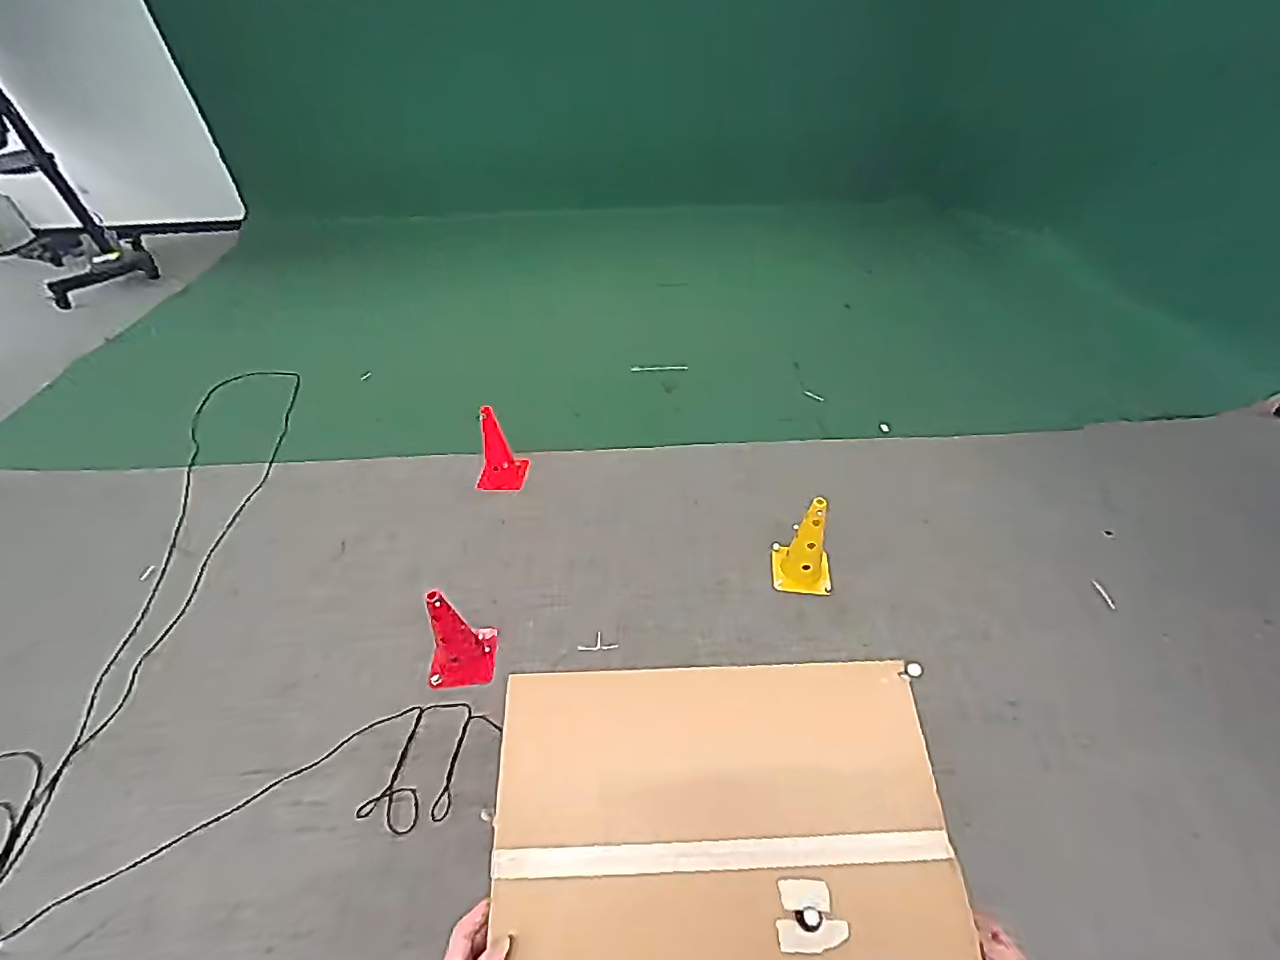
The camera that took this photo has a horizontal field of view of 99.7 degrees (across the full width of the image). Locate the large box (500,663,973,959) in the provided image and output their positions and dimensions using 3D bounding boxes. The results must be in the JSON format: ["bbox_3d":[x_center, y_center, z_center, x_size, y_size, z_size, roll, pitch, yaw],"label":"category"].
[{"bbox_3d":[0.075,0.407,0.616,0.408,0.320,0.320,-2,62,-1],"label":"large box"}]

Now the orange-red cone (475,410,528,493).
[{"bbox_3d":[-0.611,-0.136,2.247,0.199,0.360,0.198,2,43,6],"label":"orange-red cone"}]
